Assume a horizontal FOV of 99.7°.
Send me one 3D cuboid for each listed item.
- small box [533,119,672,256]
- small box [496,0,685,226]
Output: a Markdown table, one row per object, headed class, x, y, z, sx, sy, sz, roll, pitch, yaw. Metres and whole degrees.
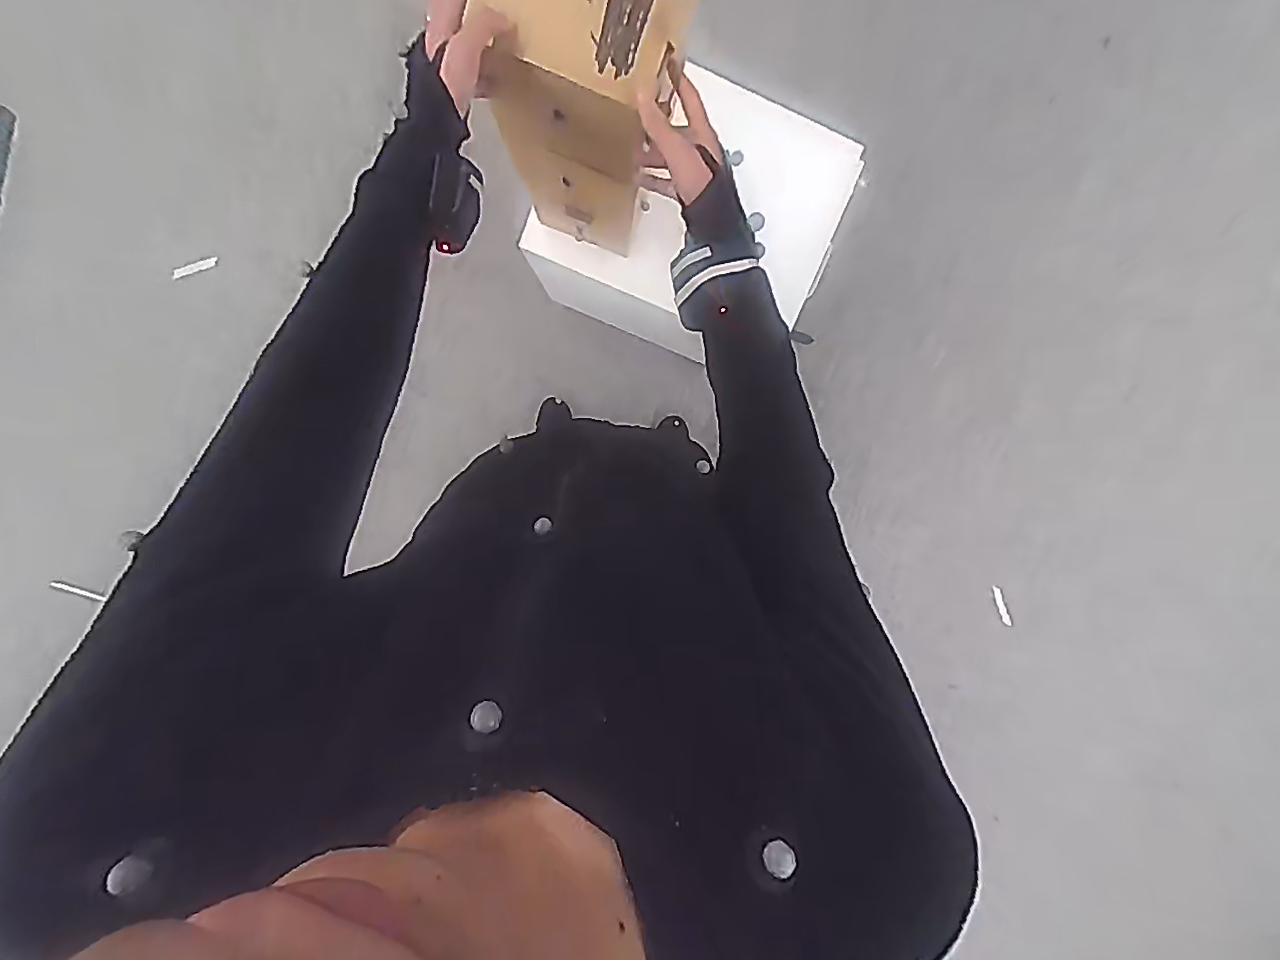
| class | x | y | z | sx | sy | sz | roll | pitch | yaw |
| --- | --- | --- | --- | --- | --- | --- | --- | --- | --- |
| small box | -0.063 | -0.486 | 0.859 | 0.168 | 0.176 | 0.179 | 20 | 98 | -5 |
| small box | -0.060 | -0.454 | 0.698 | 0.179 | 0.176 | 0.168 | 21 | 98 | -5 |
